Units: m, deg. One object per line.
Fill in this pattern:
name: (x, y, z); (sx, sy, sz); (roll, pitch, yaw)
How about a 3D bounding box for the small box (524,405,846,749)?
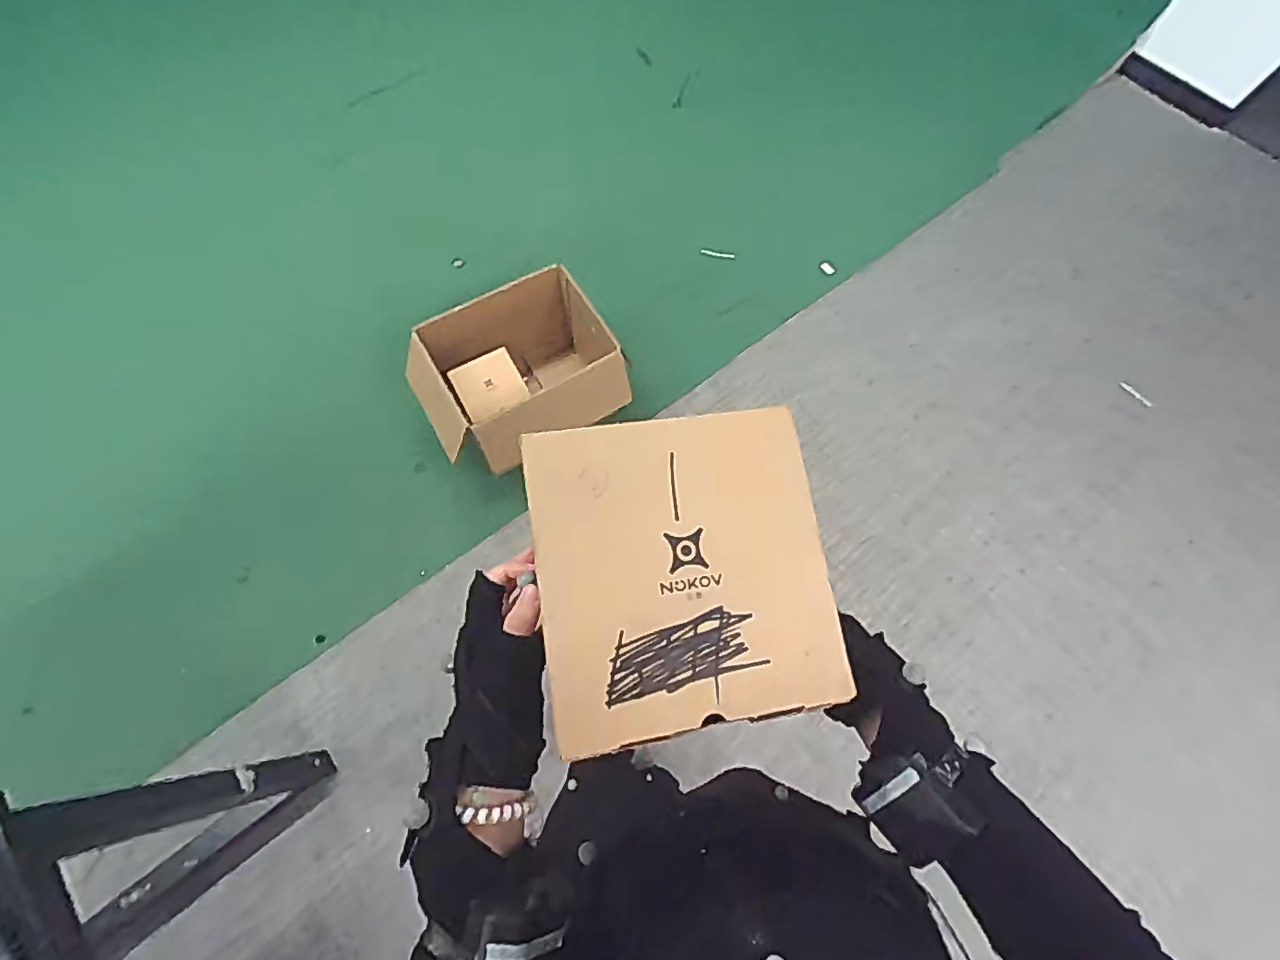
small box: (0.014, 0.061, 0.381); (0.168, 0.176, 0.179); (-6, 79, -10)
